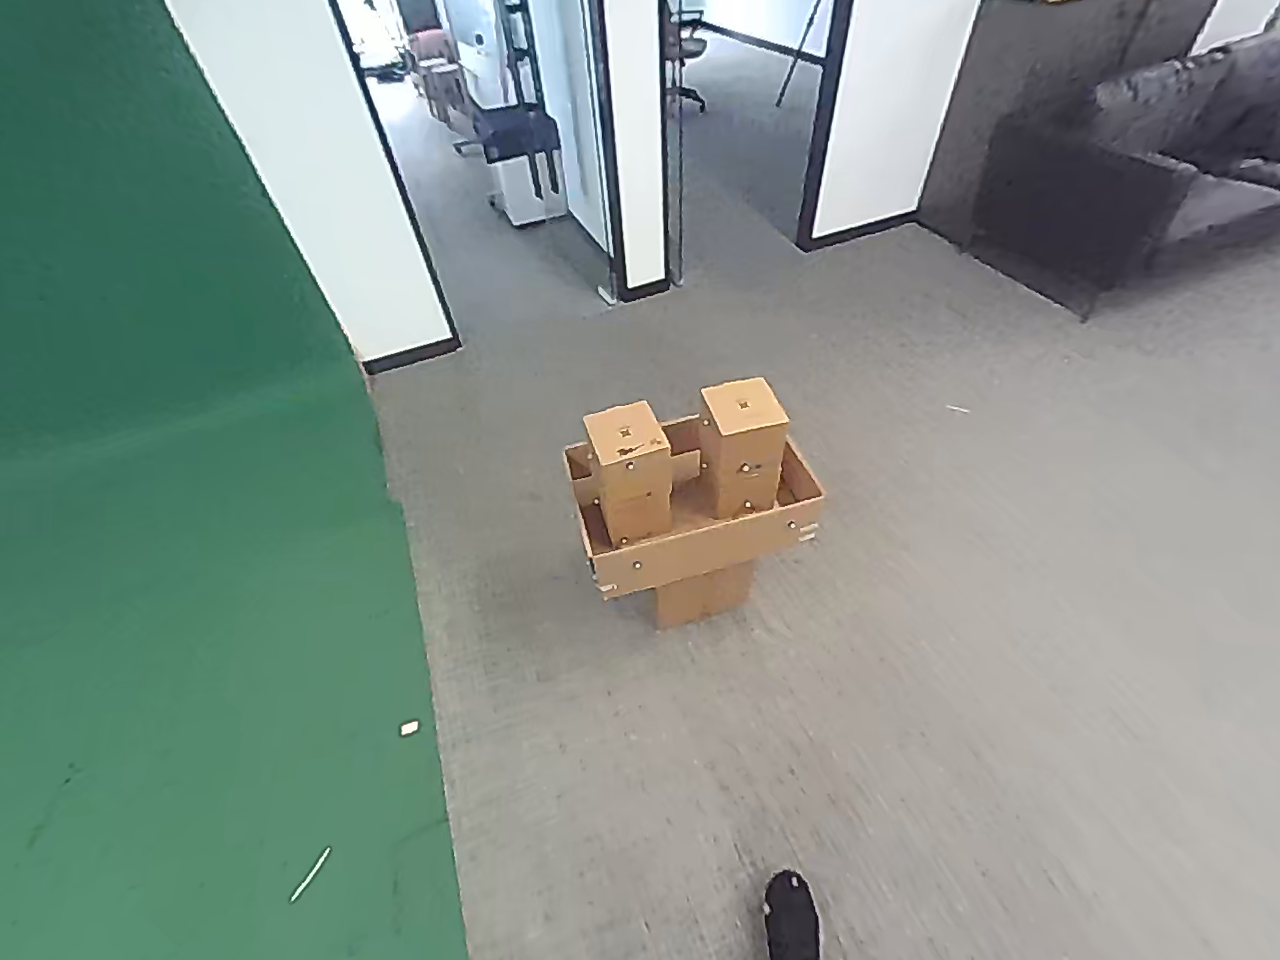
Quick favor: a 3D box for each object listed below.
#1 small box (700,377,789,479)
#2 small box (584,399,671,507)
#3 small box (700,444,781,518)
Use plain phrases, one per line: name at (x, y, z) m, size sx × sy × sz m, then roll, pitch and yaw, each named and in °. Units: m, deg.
small box at (0.251, -0.130, 1.351) m, size 0.168 × 0.176 × 0.179 m, roll -12°, pitch 49°, yaw -6°
small box at (-0.030, -0.064, 1.312) m, size 0.168 × 0.176 × 0.179 m, roll -17°, pitch 49°, yaw -9°
small box at (0.265, -0.024, 1.475) m, size 0.168 × 0.176 × 0.179 m, roll -11°, pitch 49°, yaw -5°
